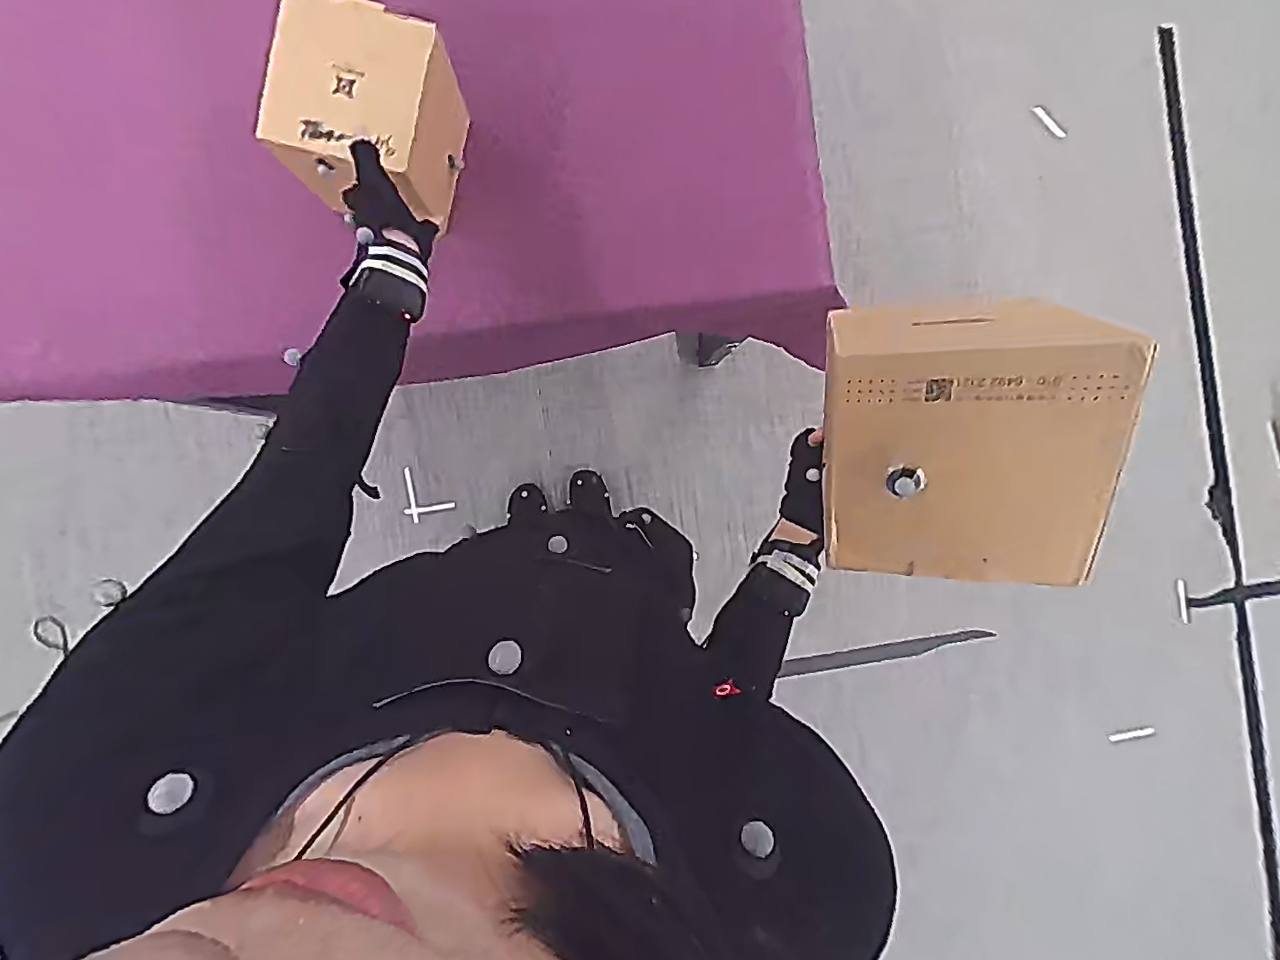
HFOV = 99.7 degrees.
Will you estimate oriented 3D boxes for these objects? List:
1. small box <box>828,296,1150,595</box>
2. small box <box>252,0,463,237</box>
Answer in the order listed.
[{"bbox_3d":[0.235,-0.038,0.411,0.168,0.179,0.176,3,116,17],"label":"small box"},{"bbox_3d":[-0.332,-0.440,0.673,0.168,0.176,0.179,12,89,-5],"label":"small box"}]
